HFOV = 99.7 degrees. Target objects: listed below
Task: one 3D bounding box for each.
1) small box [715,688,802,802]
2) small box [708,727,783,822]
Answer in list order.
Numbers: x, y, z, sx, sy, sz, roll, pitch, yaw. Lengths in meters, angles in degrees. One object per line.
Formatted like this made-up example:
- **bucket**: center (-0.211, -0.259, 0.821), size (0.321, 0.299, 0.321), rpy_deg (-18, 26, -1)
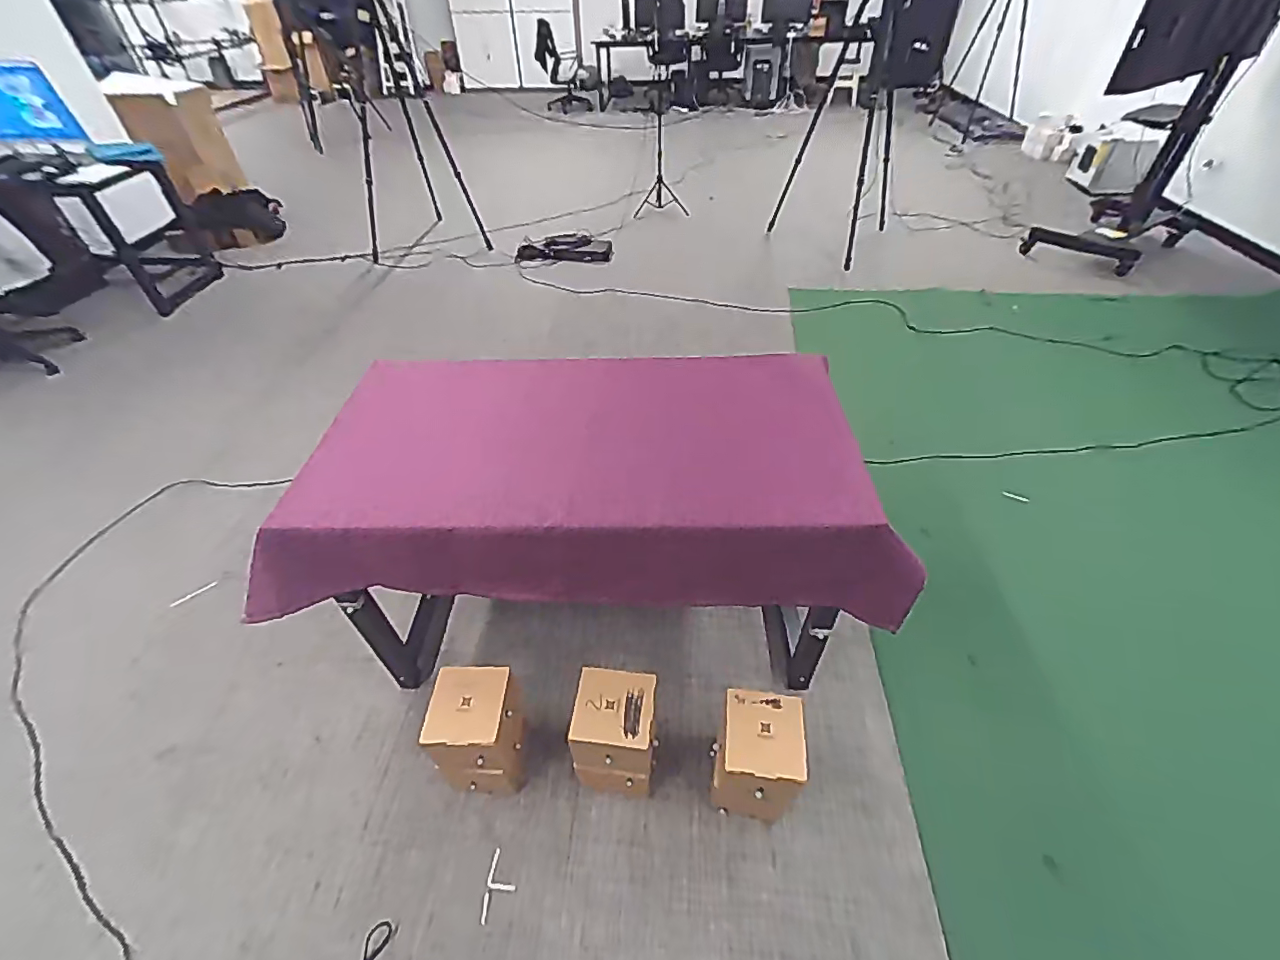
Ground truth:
- **small box**: center (0.259, 0.591, 1.201), size (0.168, 0.176, 0.179), rpy_deg (7, 46, 6)
- **small box**: center (0.261, 0.706, 1.321), size (0.168, 0.176, 0.179), rpy_deg (8, 44, 10)
